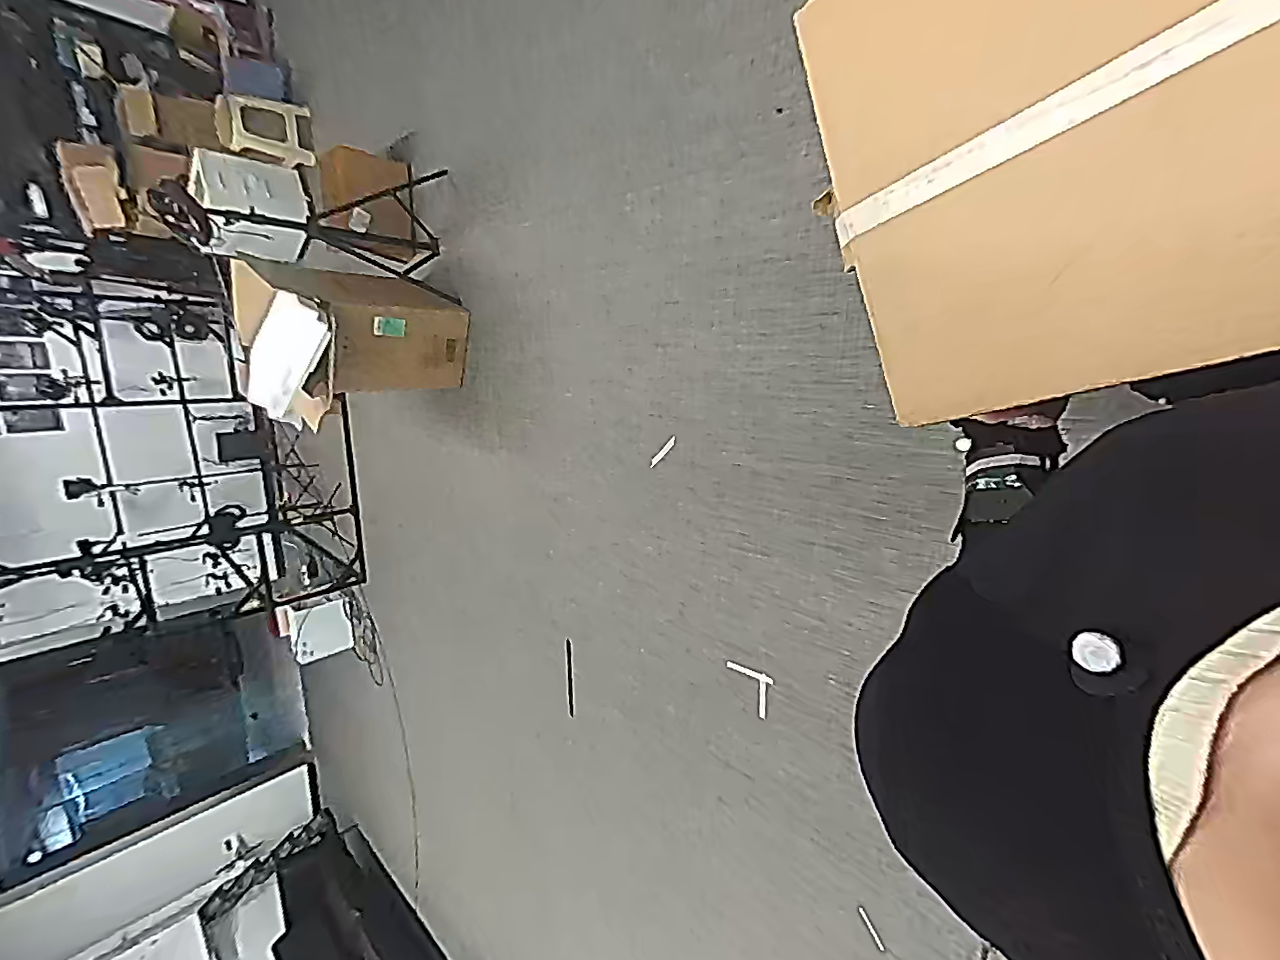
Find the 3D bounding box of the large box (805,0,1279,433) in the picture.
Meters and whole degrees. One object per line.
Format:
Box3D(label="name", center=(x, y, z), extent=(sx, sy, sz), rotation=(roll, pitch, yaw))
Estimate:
Box3D(label="large box", center=(0.393, -0.245, 0.357), extent=(0.408, 0.320, 0.320), rotation=(-14, 92, 47))
